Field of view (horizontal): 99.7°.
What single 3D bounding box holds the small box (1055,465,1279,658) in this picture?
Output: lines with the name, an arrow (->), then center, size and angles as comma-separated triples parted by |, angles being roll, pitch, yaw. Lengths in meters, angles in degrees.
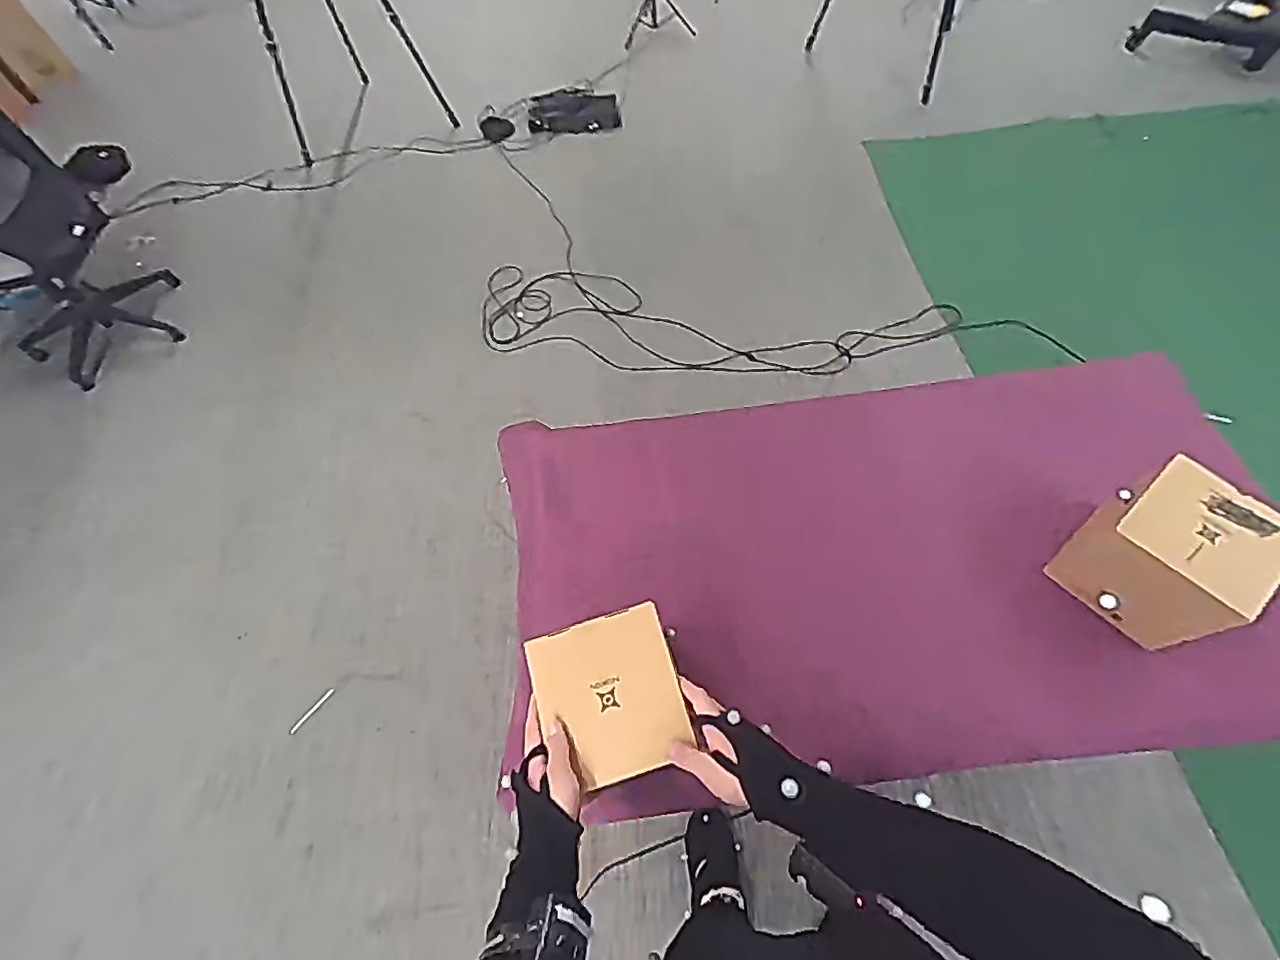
small box -> 0.740, 0.118, 0.755 | 0.179, 0.176, 0.168 | -37, 64, -15

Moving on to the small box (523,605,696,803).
small box -> -0.031, 0.278, 0.683 | 0.168, 0.176, 0.179 | -18, 65, -2
